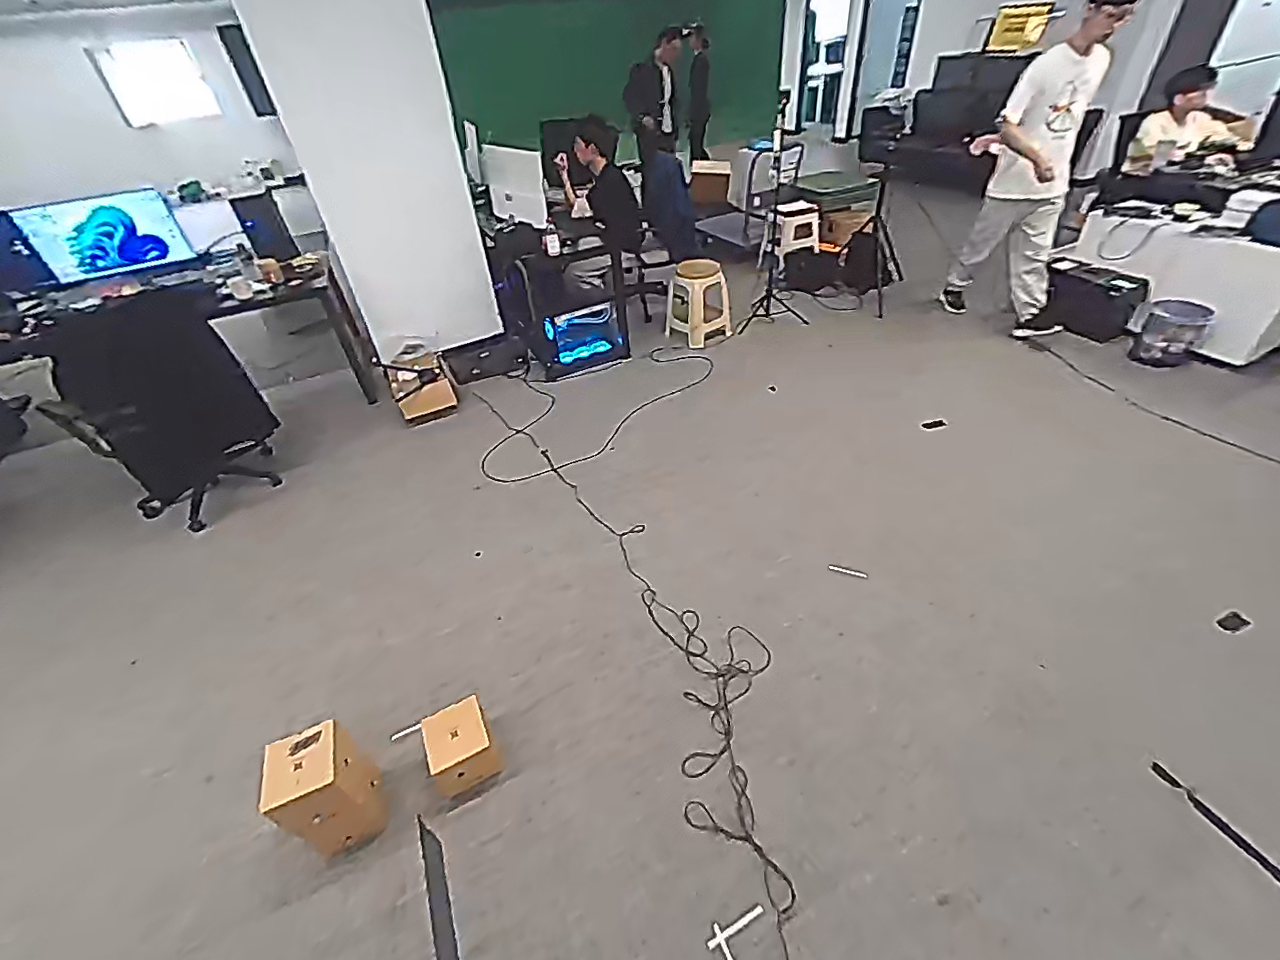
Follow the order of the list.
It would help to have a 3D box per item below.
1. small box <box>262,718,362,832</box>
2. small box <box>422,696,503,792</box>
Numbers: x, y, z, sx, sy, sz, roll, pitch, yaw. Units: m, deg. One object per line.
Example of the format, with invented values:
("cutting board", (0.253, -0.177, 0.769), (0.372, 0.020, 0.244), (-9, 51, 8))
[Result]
("small box", (-0.830, 0.756, 1.385), (0.168, 0.176, 0.179), (-19, 42, -15))
("small box", (-0.516, 0.778, 1.581), (0.168, 0.176, 0.179), (-21, 42, -18))
